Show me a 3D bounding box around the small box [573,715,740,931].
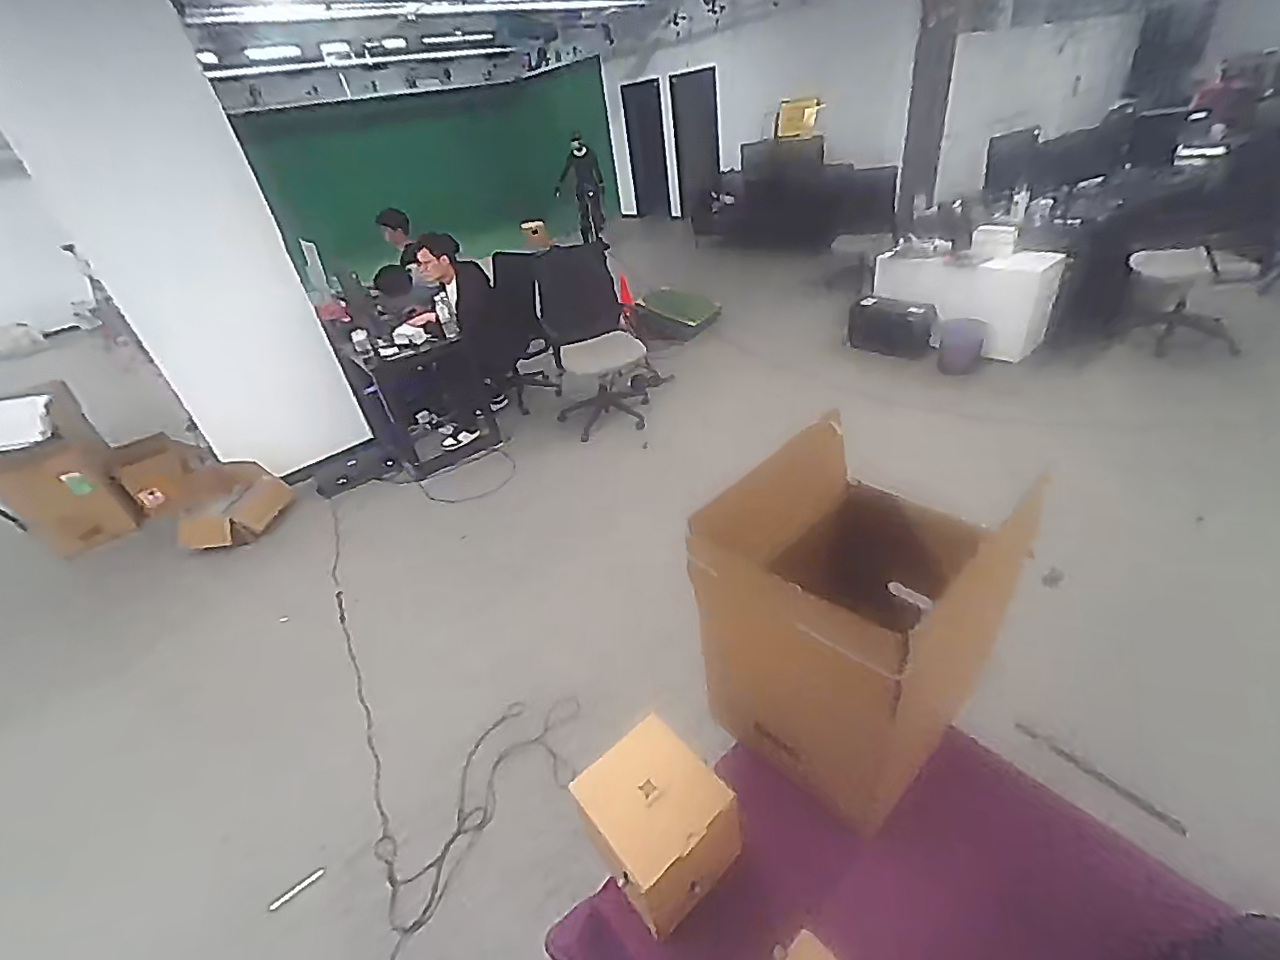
[{"bbox_3d":[0.027,0.496,0.790,0.168,0.176,0.179,-31,40,-29],"label":"small box"}]
